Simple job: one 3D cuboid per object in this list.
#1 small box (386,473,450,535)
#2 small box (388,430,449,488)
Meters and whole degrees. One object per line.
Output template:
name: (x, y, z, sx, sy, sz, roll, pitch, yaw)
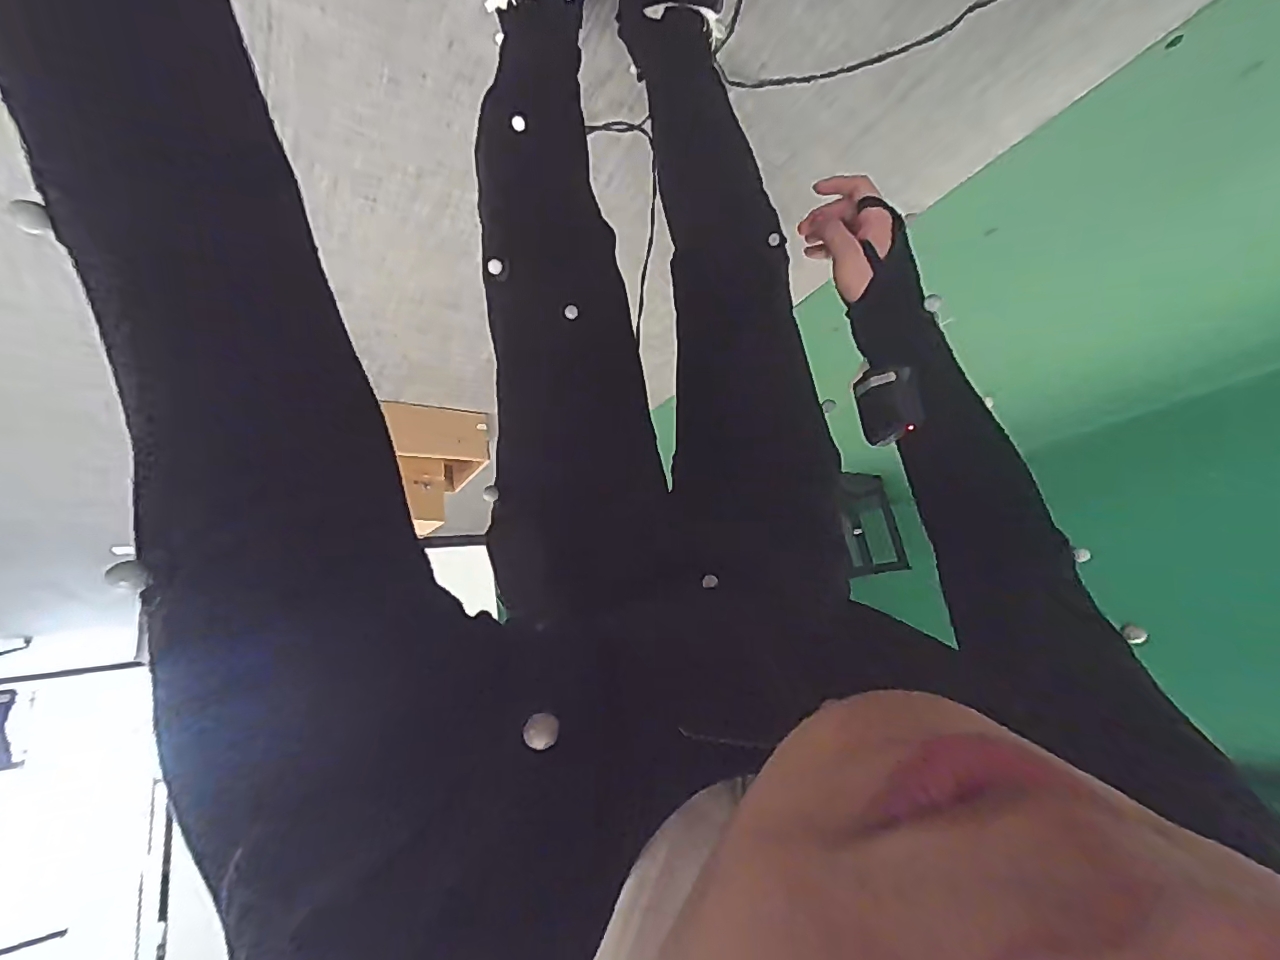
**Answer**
small box: (-0.796, 0.090, 1.944, 0.168, 0.176, 0.179, 10, 154, -43)
small box: (-0.814, -0.065, 1.993, 0.168, 0.176, 0.179, 9, 154, -39)
